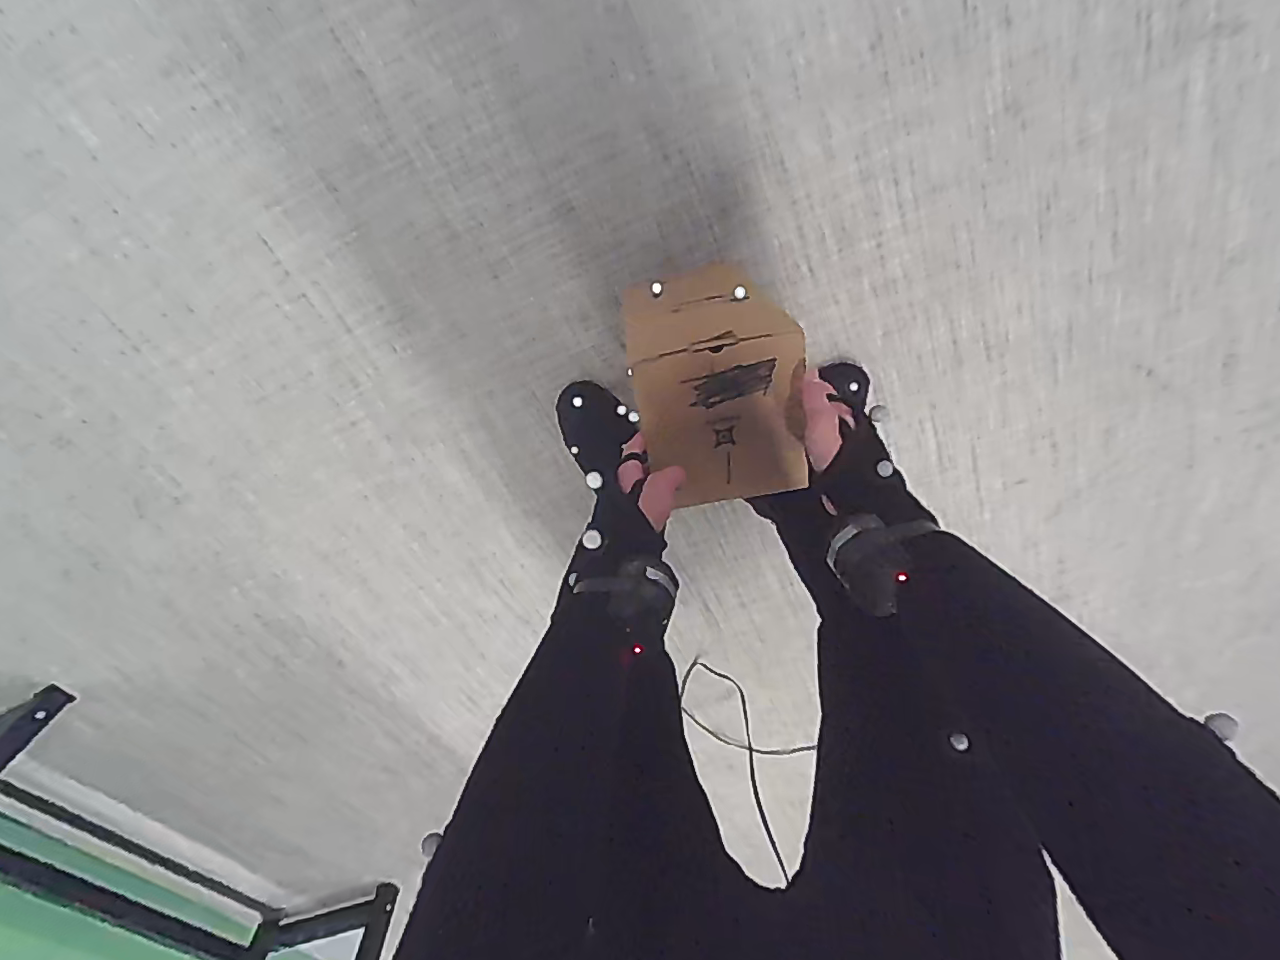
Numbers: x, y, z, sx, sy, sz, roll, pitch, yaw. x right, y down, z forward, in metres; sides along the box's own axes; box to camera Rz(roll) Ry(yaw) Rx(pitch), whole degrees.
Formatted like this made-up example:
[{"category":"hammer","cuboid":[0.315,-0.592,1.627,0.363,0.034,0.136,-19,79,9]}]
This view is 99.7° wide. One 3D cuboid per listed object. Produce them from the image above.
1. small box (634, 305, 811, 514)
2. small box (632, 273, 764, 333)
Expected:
[{"category":"small box","cuboid":[0.087,-0.088,0.614,0.168,0.176,0.179,-9,122,3]},{"category":"small box","cuboid":[0.084,-0.182,0.768,0.168,0.176,0.179,-10,123,6]}]
